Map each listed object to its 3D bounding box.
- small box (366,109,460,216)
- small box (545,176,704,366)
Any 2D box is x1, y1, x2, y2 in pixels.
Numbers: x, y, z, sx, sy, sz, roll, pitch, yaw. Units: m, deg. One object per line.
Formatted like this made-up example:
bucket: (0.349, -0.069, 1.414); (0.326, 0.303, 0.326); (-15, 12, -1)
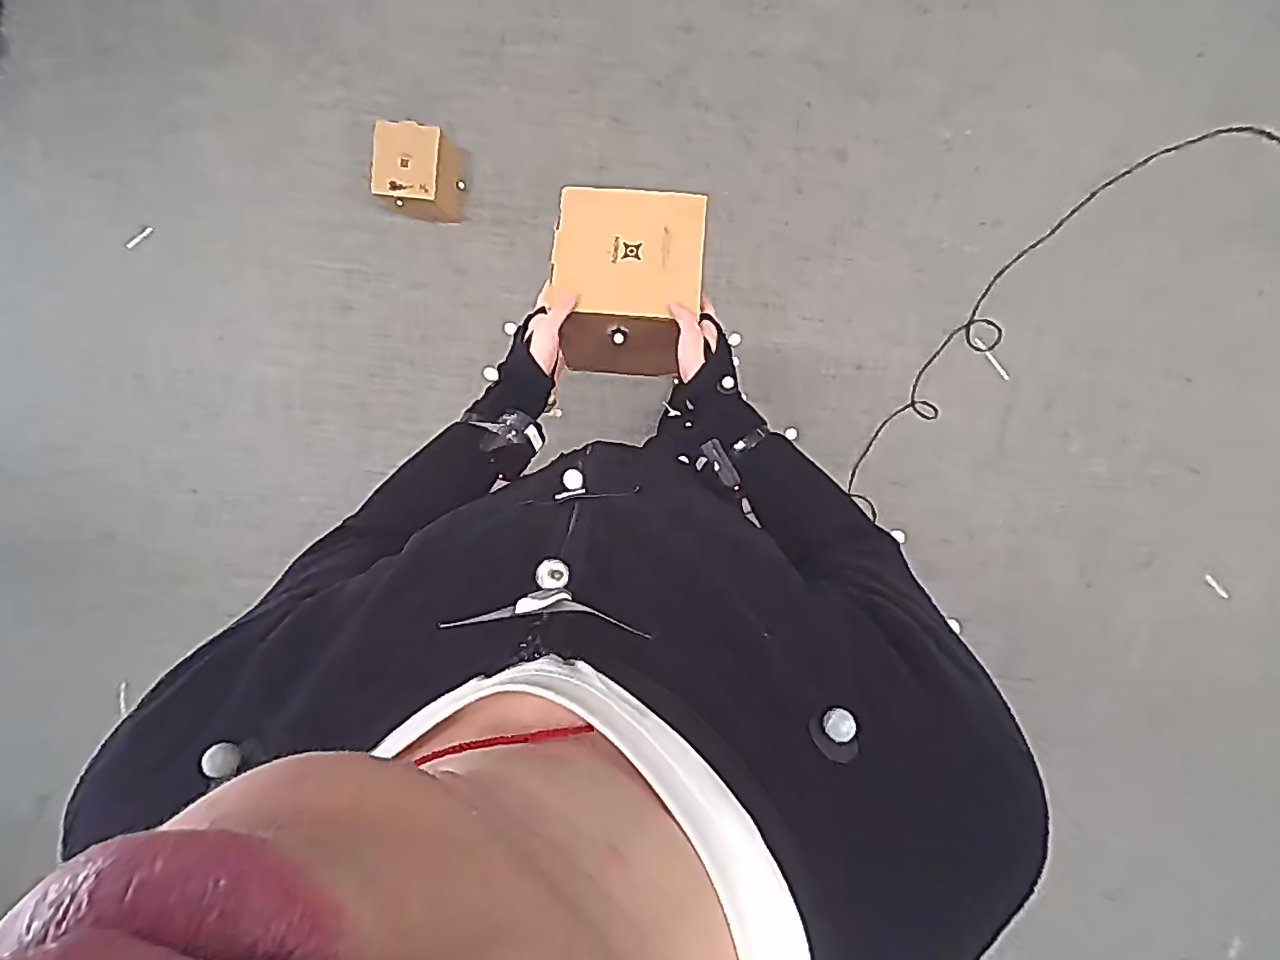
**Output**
small box: (-0.582, -0.816, 1.402); (0.168, 0.176, 0.179); (9, 97, 2)
small box: (-0.017, -0.260, 0.704); (0.179, 0.176, 0.168); (4, 78, 0)
